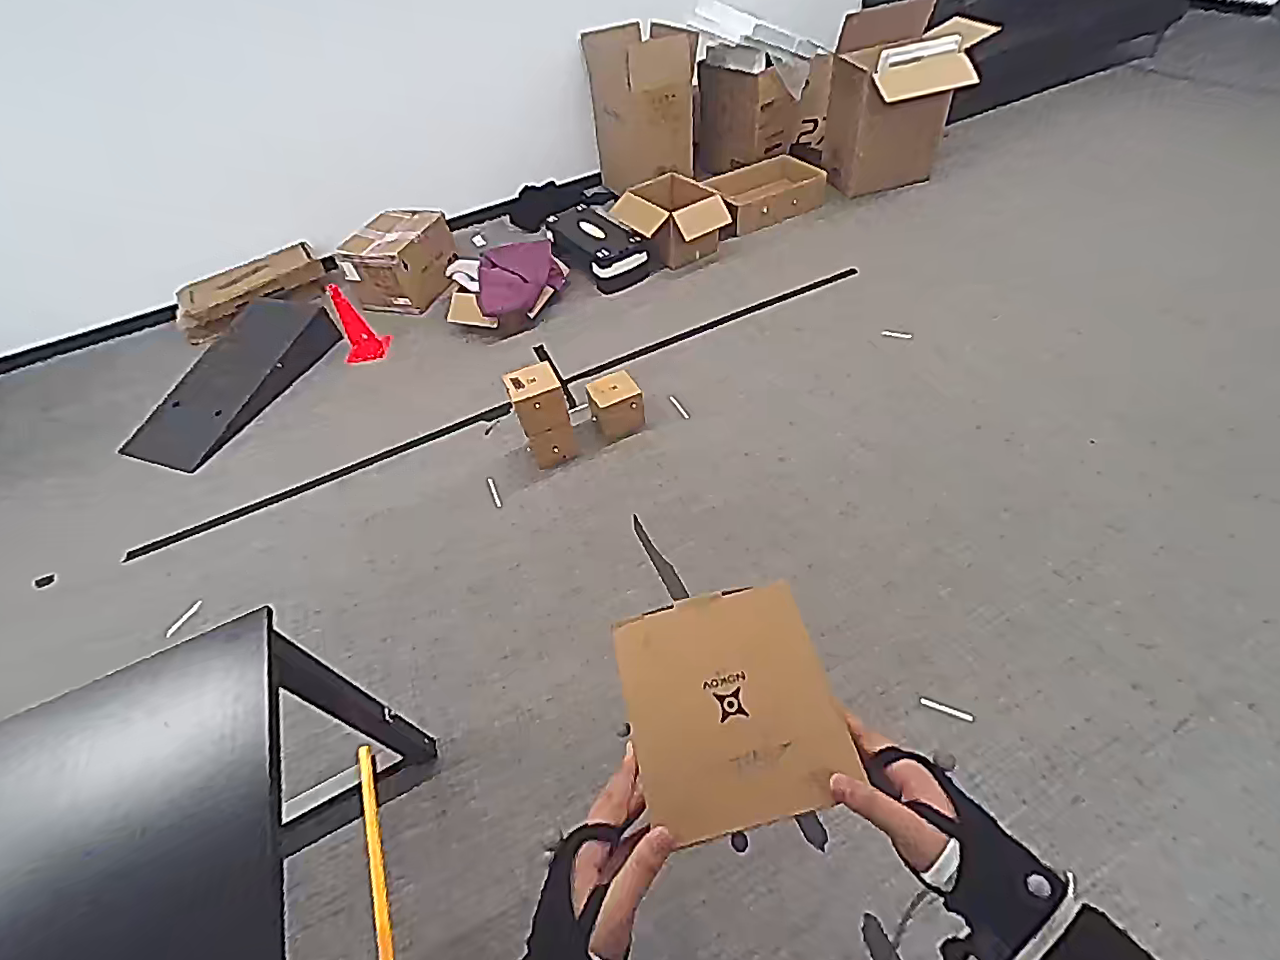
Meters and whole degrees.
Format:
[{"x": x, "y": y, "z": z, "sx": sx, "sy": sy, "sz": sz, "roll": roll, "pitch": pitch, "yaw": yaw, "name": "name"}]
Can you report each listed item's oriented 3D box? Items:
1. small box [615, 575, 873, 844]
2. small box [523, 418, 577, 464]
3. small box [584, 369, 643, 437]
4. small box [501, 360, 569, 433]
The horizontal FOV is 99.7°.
[{"x": 0.077, "y": 0.213, "z": 0.496, "sx": 0.168, "sy": 0.176, "sz": 0.179, "roll": -13, "pitch": 58, "yaw": -3, "name": "small box"}, {"x": -0.352, "y": -0.183, "z": 2.055, "sx": 0.168, "sy": 0.176, "sz": 0.179, "roll": -22, "pitch": 51, "yaw": -10, "name": "small box"}, {"x": -0.098, "y": -0.301, "z": 2.117, "sx": 0.179, "sy": 0.176, "sz": 0.168, "roll": -24, "pitch": 51, "yaw": -12, "name": "small box"}, {"x": -0.373, "y": -0.295, "z": 1.934, "sx": 0.179, "sy": 0.176, "sz": 0.168, "roll": -22, "pitch": 50, "yaw": -10, "name": "small box"}]
